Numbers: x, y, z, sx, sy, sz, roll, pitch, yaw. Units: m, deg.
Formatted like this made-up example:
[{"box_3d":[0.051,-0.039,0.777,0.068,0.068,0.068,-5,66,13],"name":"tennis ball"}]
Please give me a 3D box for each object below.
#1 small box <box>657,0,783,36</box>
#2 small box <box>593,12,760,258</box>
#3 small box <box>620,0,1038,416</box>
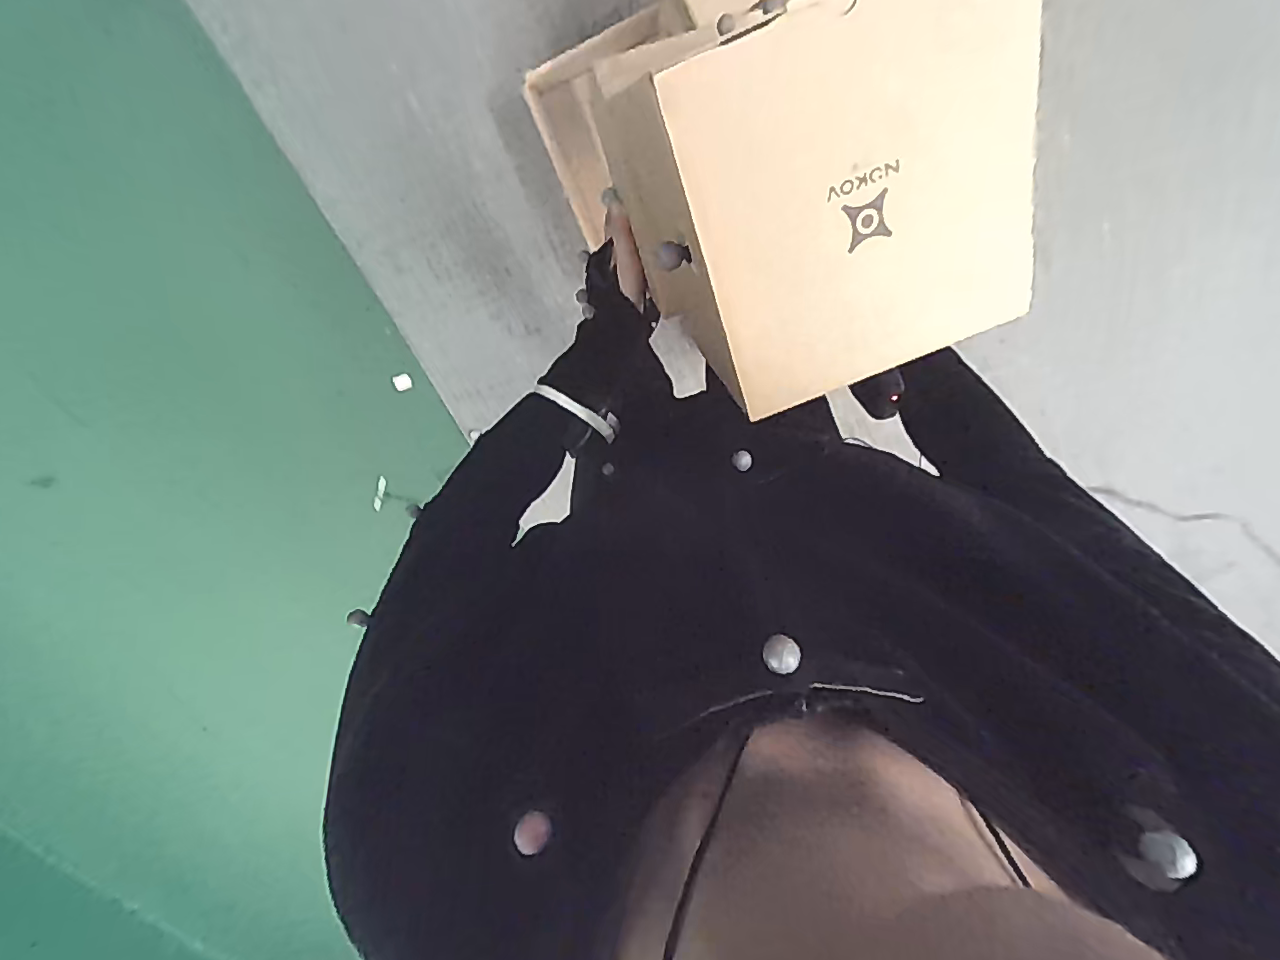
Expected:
[{"box_3d":[0.142,-0.711,0.871,0.179,0.176,0.168,-22,115,16],"name":"small box"},{"box_3d":[0.049,-0.364,0.587,0.168,0.176,0.179,-14,122,2],"name":"small box"},{"box_3d":[0.095,-0.171,0.326,0.168,0.176,0.179,-20,122,5],"name":"small box"}]
